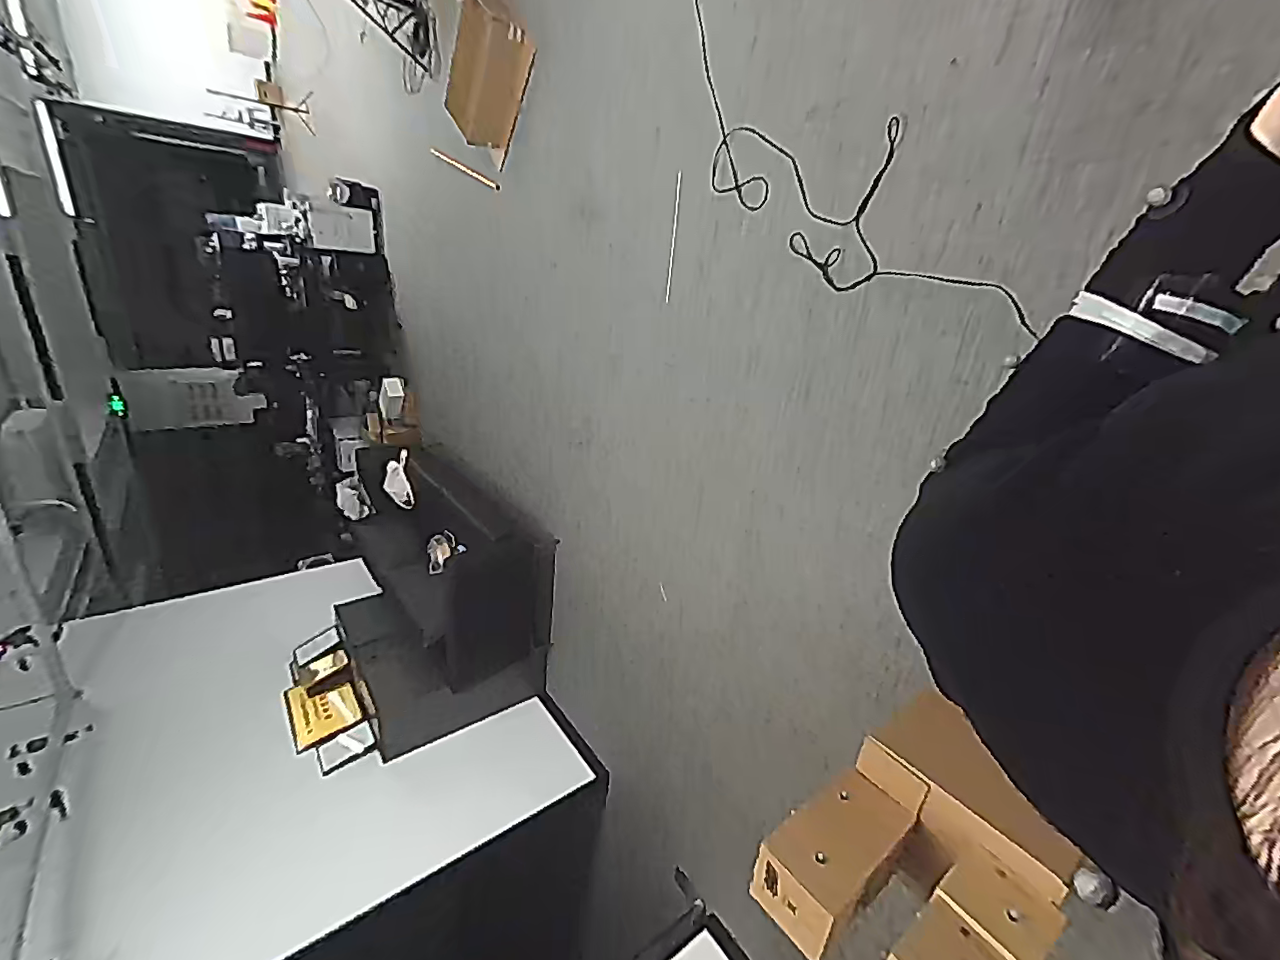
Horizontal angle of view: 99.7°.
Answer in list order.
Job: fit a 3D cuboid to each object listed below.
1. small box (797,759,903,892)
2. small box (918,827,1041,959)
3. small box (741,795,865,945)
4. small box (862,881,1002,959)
[{"bbox_3d":[0.477,0.791,1.265,0.179,0.176,0.168,28,122,43],"label":"small box"},{"bbox_3d":[0.646,0.835,1.059,0.168,0.176,0.179,33,125,44],"label":"small box"},{"bbox_3d":[0.349,0.821,1.166,0.179,0.176,0.168,29,123,42],"label":"small box"},{"bbox_3d":[0.516,0.876,0.965,0.168,0.176,0.179,35,126,43],"label":"small box"}]
